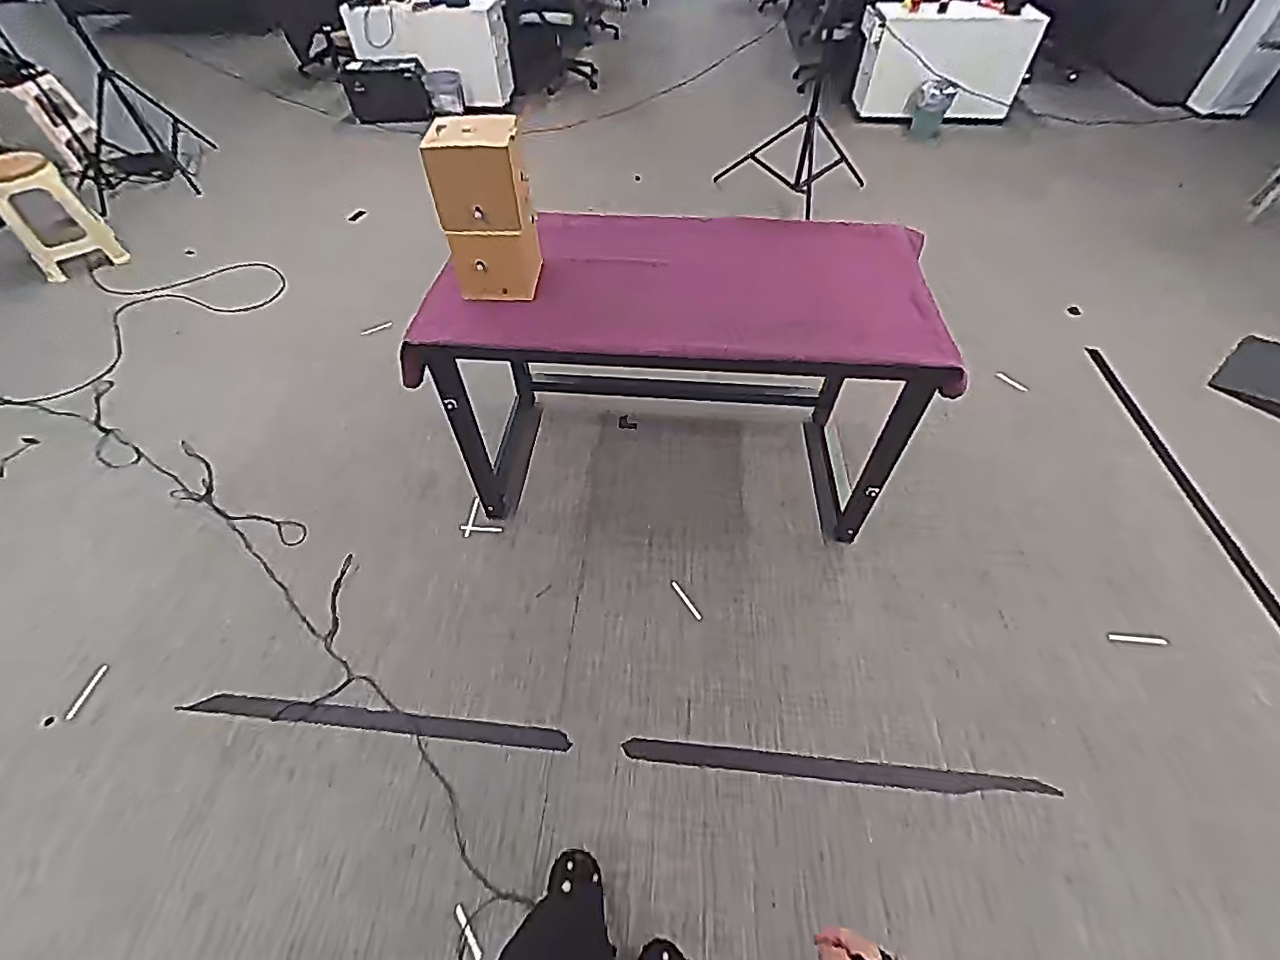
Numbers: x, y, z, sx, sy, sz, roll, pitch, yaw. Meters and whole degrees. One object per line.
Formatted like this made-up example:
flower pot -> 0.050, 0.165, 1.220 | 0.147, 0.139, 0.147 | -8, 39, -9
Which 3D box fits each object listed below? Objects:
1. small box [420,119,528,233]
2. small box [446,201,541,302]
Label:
small box -> -0.343, -0.647, 1.159 | 0.179, 0.176, 0.168 | 0, 51, -1
small box -> -0.337, -0.539, 1.282 | 0.168, 0.176, 0.179 | 0, 51, 1
